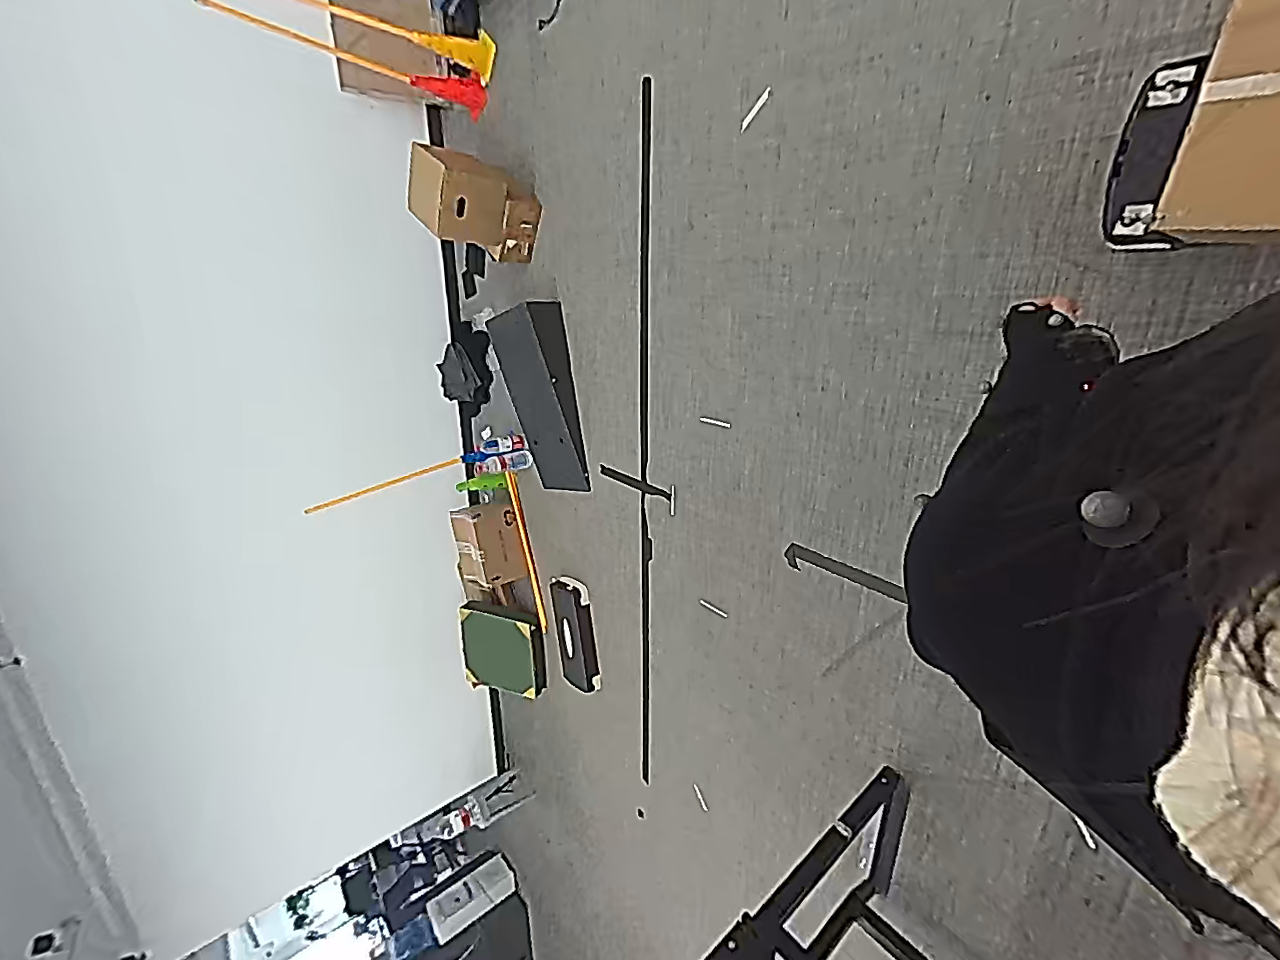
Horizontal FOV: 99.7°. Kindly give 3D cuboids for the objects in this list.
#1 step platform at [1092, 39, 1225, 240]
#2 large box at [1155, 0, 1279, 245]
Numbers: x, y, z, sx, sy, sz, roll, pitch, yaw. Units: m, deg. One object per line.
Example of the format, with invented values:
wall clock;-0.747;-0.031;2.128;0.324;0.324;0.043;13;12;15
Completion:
step platform;1.107;-0.493;0.783;0.684;0.204;0.286;30;124;44
large box;0.941;-0.441;0.618;0.408;0.320;0.320;28;122;45
